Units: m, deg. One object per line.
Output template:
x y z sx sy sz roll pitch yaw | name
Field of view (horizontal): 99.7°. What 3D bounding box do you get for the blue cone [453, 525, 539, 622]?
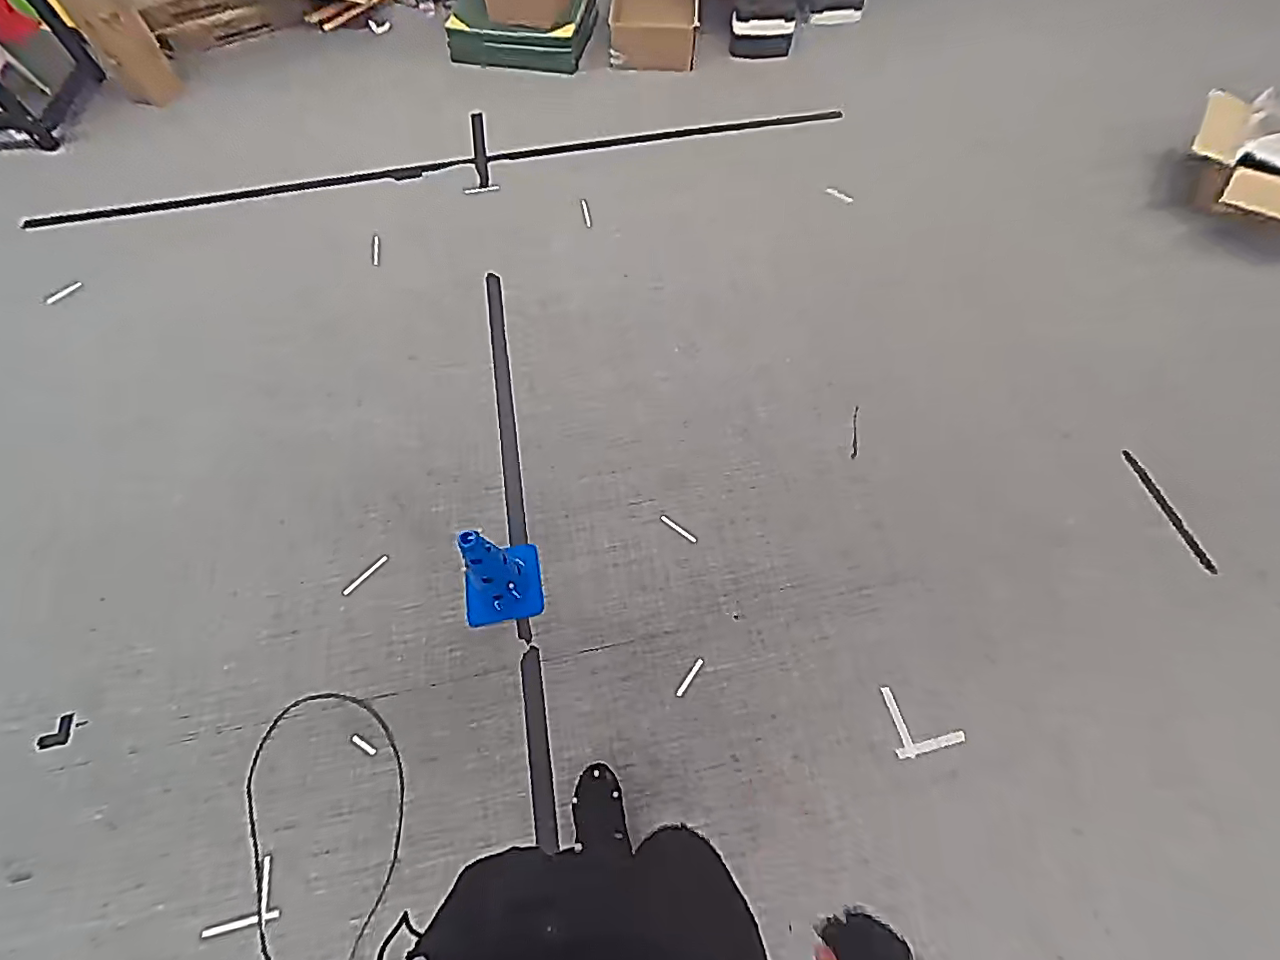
-0.365 0.199 1.274 0.193 0.380 0.192 -11 64 -5 | blue cone
